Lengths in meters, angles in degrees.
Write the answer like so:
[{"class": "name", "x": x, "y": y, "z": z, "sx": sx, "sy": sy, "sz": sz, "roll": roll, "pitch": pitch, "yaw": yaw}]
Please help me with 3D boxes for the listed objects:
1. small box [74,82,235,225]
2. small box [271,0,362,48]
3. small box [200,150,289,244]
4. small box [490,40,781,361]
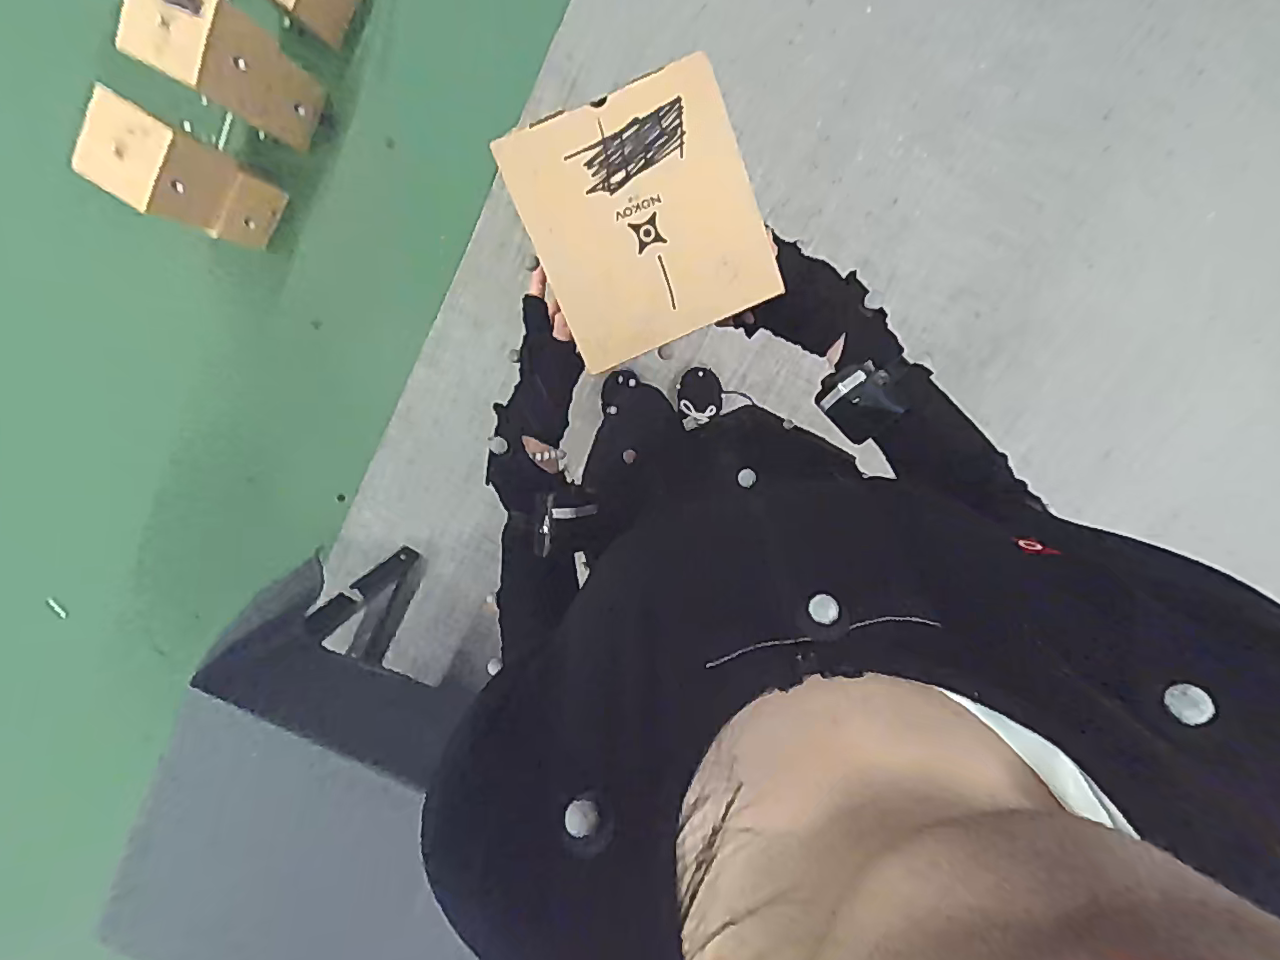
[{"class": "small box", "x": -1.017, "y": -0.677, "z": 1.148, "sx": 0.168, "sy": 0.176, "sz": 0.179, "roll": 33, "pitch": 102, "yaw": -4}, {"class": "small box", "x": -0.753, "y": -1.138, "z": 1.210, "sx": 0.168, "sy": 0.176, "sz": 0.179, "roll": 33, "pitch": 102, "yaw": -4}, {"class": "small box", "x": -1.005, "y": -0.698, "z": 1.312, "sx": 0.179, "sy": 0.176, "sz": 0.168, "roll": 34, "pitch": 101, "yaw": -4}, {"class": "small box", "x": -0.006, "y": -0.212, "z": 0.467, "sx": 0.168, "sy": 0.176, "sz": 0.179, "roll": -23, "pitch": 103, "yaw": 1}]
